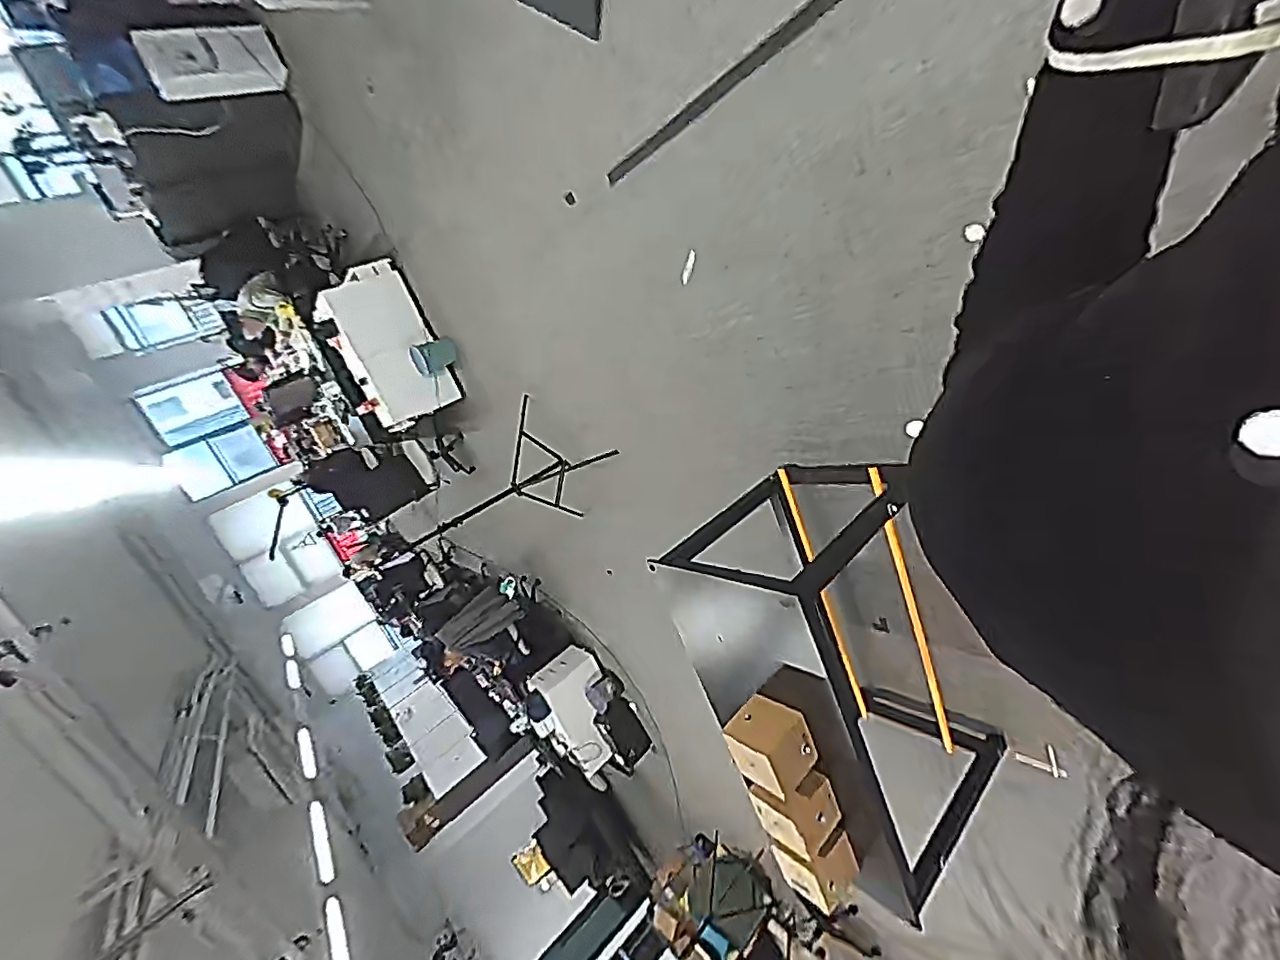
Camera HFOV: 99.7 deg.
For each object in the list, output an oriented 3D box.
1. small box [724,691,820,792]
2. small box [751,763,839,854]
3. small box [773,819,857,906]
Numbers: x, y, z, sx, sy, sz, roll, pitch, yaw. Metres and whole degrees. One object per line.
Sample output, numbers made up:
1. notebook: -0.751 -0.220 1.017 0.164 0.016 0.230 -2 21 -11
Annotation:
1. small box: 0.377 0.734 1.543 0.179 0.176 0.168 0 119 55
2. small box: 0.467 0.946 1.609 0.179 0.176 0.168 2 119 55
3. small box: 0.549 1.151 1.681 0.168 0.176 0.179 2 119 55
